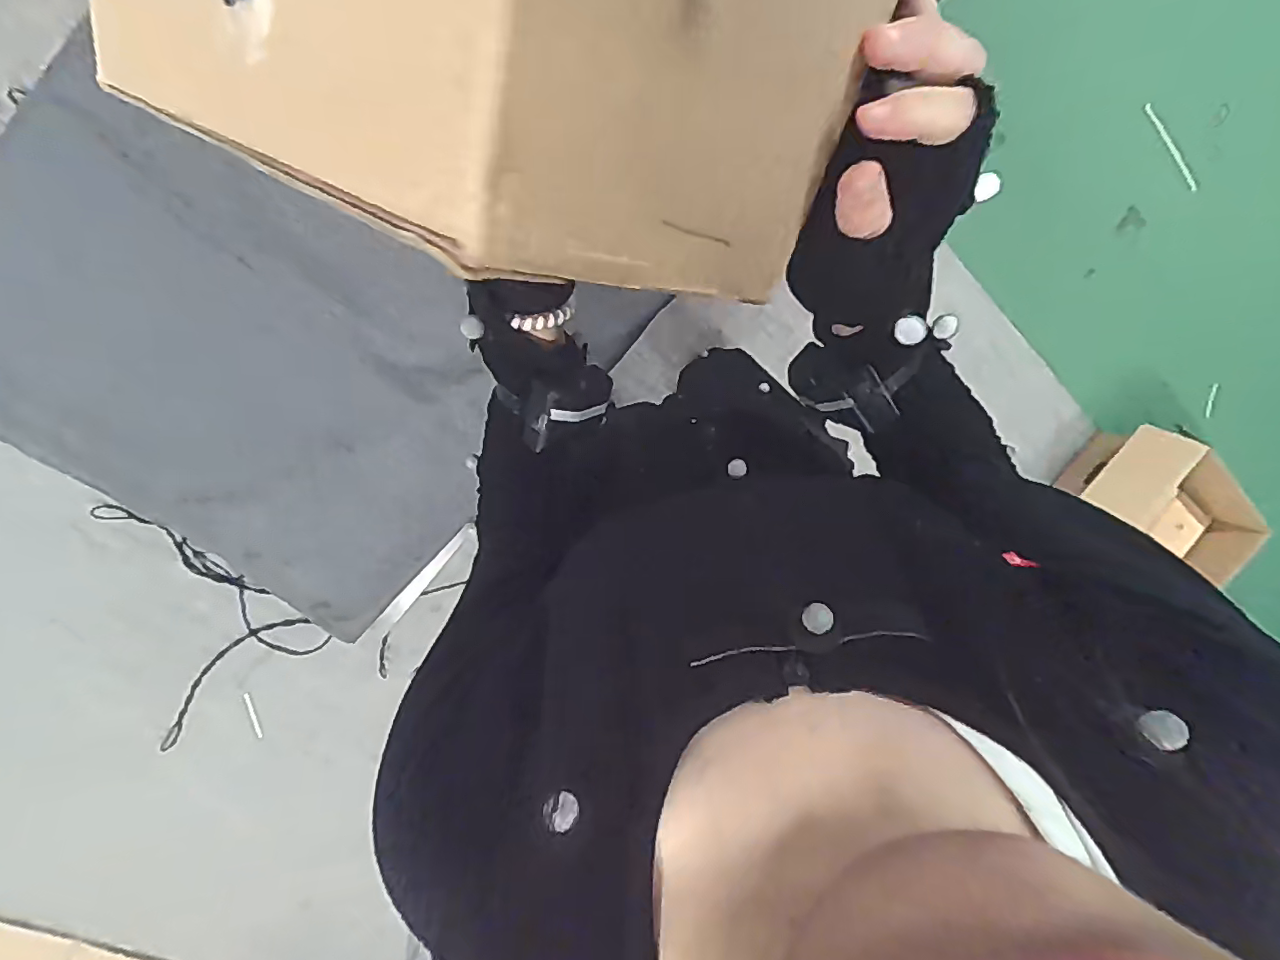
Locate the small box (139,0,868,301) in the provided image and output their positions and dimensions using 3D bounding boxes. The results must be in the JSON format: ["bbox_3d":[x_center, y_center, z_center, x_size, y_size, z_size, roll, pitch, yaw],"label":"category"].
[{"bbox_3d":[-0.031,-0.170,0.171,0.179,0.168,0.176,31,118,23],"label":"small box"}]
